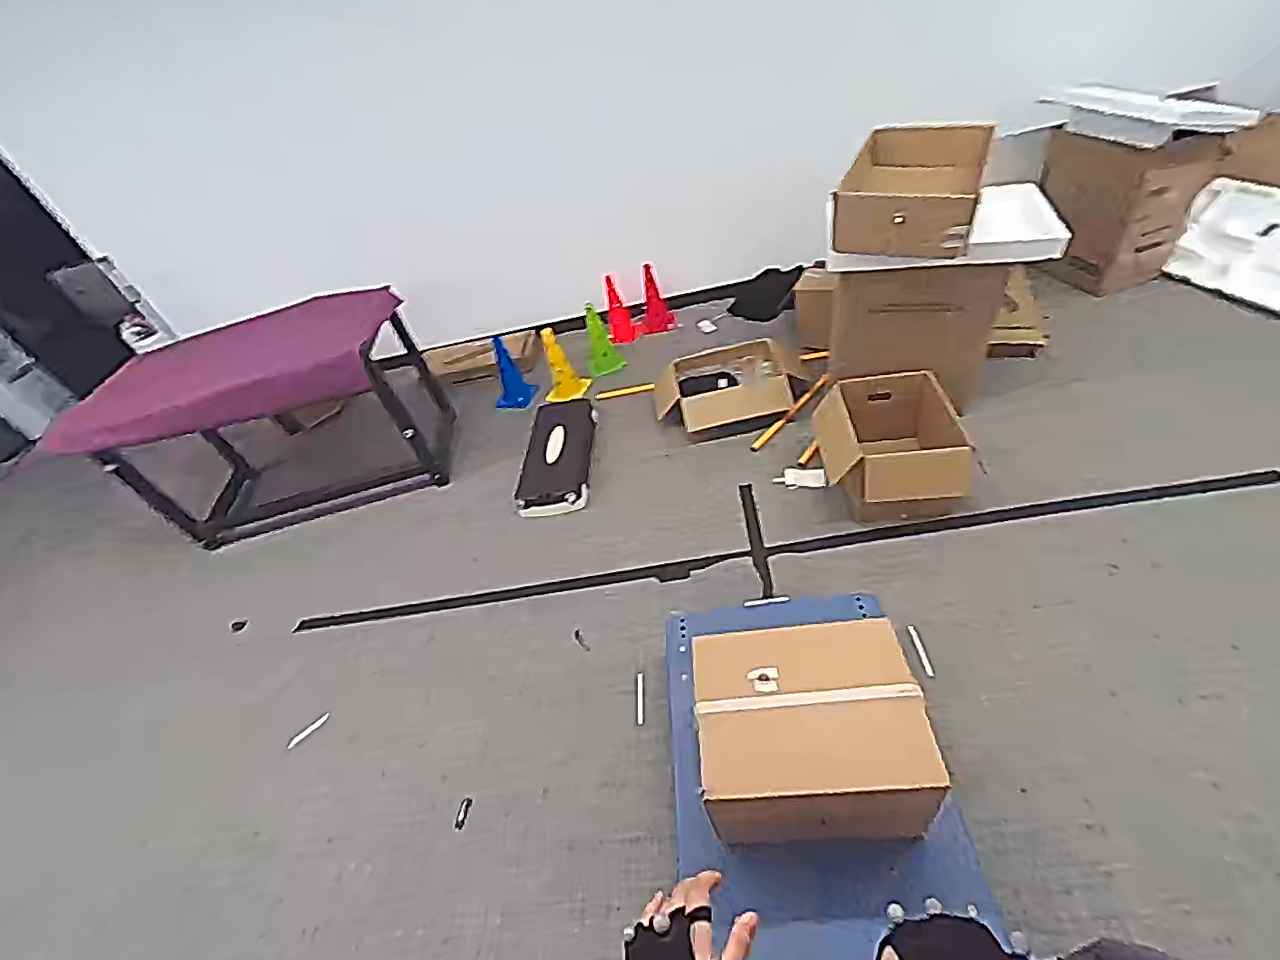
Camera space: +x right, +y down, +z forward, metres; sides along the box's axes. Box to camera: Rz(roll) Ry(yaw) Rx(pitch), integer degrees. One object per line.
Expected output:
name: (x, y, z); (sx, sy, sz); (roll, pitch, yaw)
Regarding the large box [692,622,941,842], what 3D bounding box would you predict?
large box: (0.340, 0.532, 1.126); (0.408, 0.320, 0.320); (-9, 42, 9)
